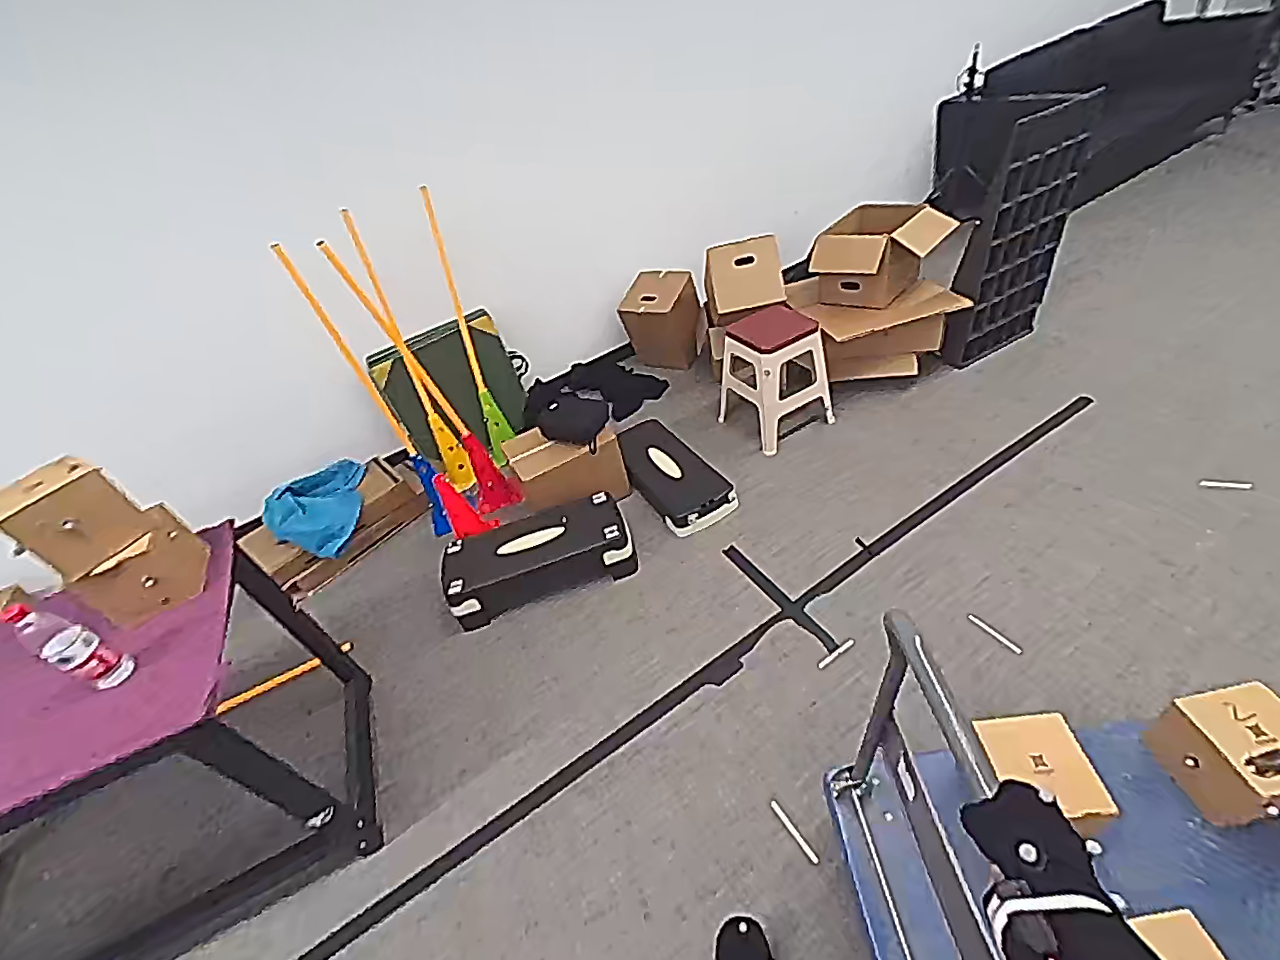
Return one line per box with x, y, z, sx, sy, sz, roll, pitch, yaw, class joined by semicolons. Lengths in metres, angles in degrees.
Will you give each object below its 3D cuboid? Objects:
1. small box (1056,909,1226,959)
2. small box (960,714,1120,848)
0.771;0.777;0.802;0.168;0.176;0.179;-12;40;3;small box
0.748;0.579;1.040;0.168;0.176;0.179;-9;42;6;small box
